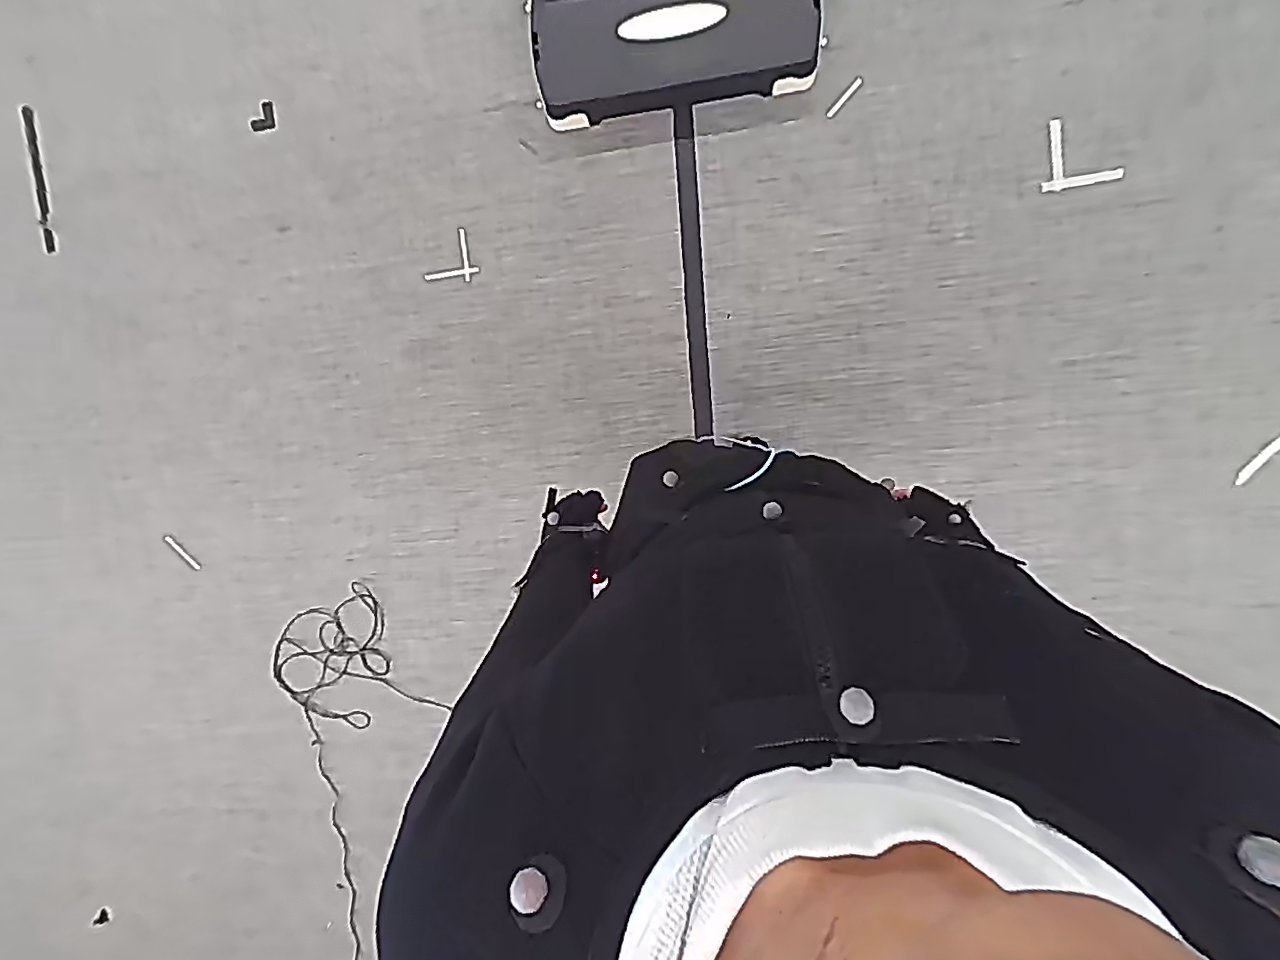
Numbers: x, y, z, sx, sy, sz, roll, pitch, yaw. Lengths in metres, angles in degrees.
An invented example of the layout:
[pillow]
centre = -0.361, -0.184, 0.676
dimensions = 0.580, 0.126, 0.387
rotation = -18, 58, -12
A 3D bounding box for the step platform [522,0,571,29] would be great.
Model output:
[step platform]
centre = 0.023, -1.295, 1.223
dimensions = 0.684, 0.204, 0.286
rotation = -6, 96, 6
